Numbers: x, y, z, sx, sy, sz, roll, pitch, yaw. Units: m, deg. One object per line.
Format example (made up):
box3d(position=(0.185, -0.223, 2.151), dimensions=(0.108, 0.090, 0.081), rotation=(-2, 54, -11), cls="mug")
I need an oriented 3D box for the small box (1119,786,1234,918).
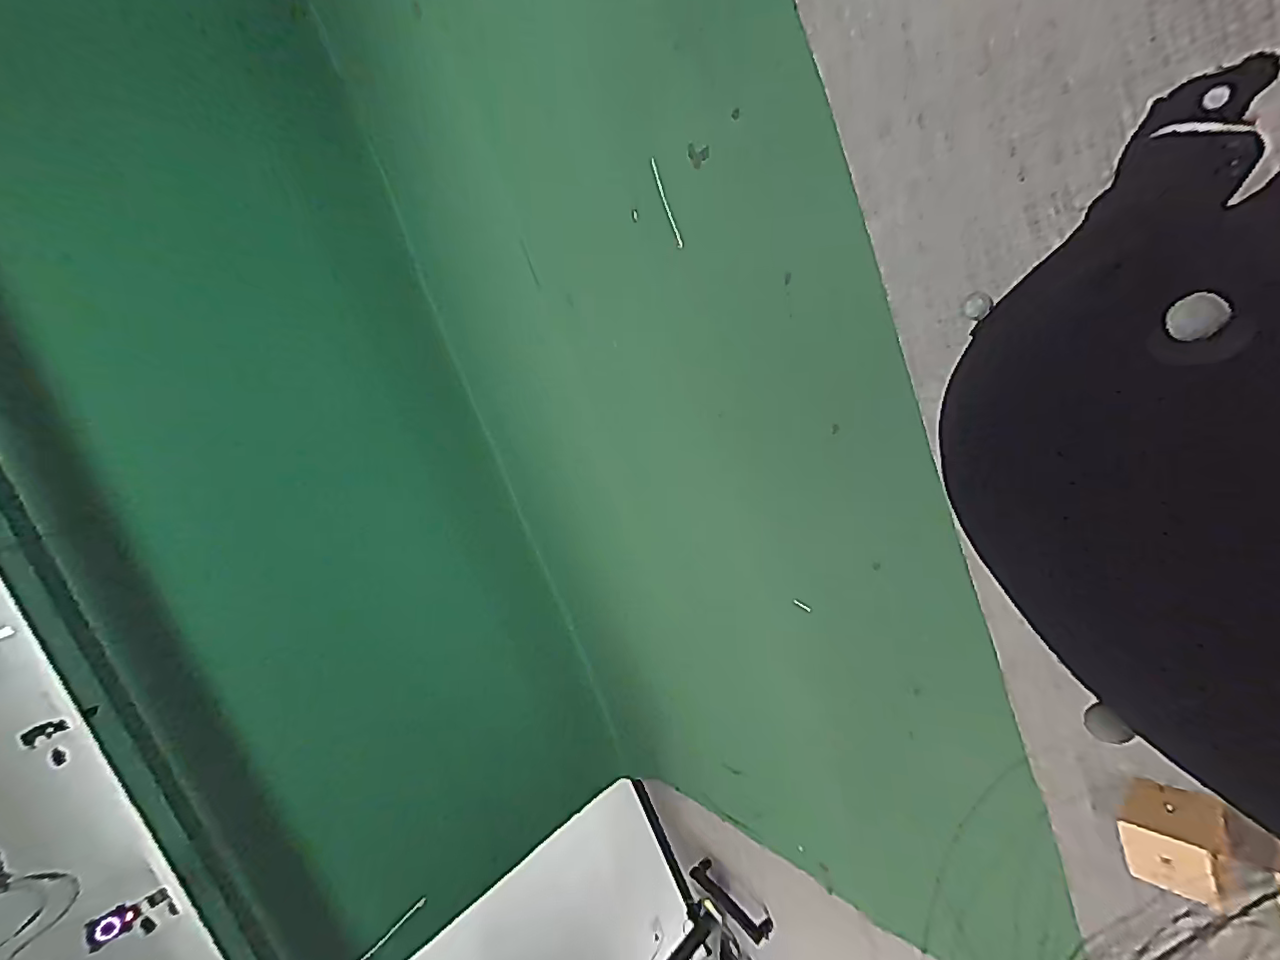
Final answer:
box3d(position=(1.332, 0.907, 1.341), dimensions=(0.168, 0.176, 0.179), rotation=(-8, 105, 57), cls="small box")
